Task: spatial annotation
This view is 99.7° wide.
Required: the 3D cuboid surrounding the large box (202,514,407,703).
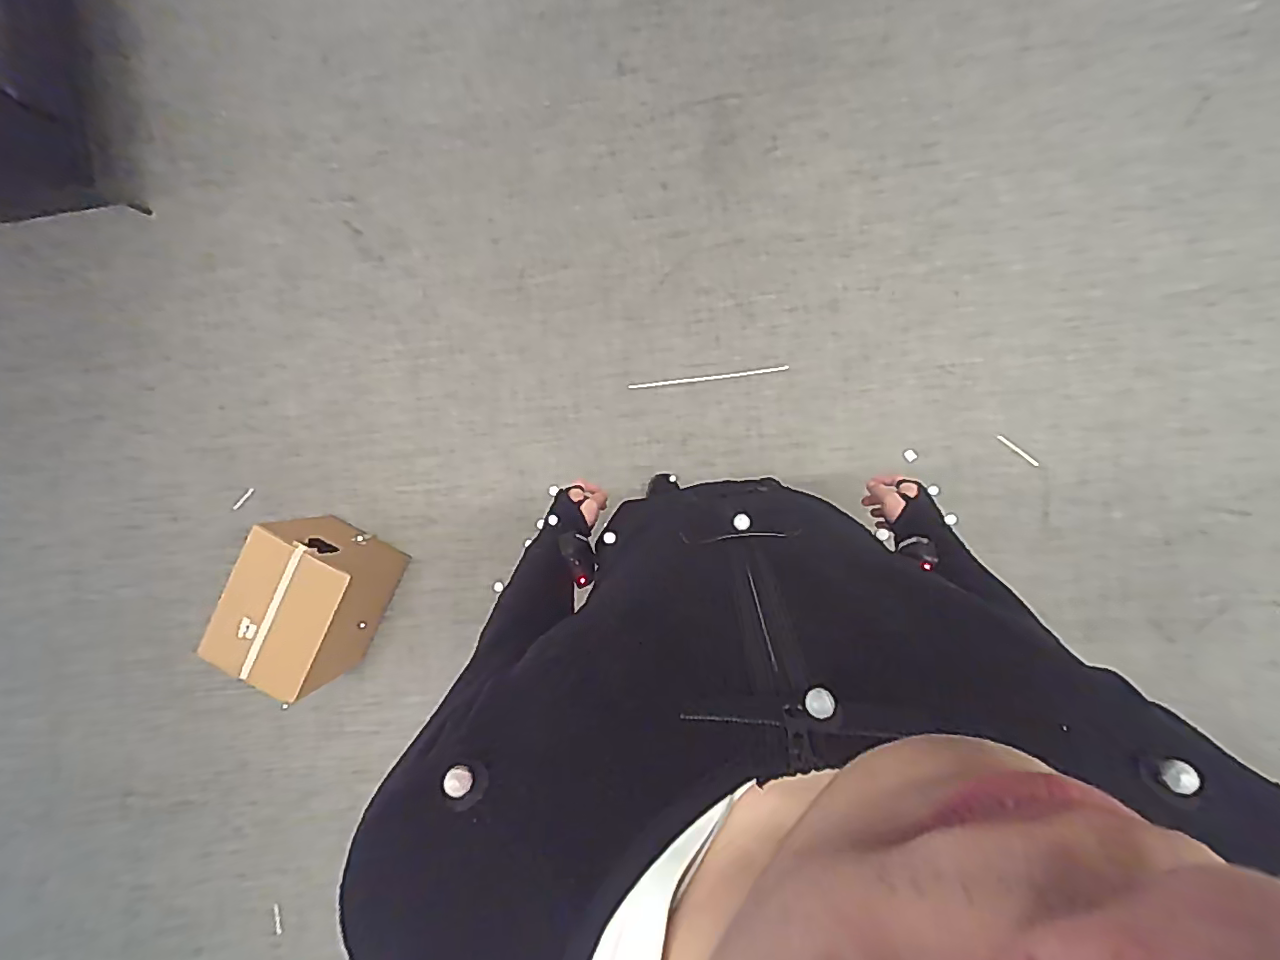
[{"bbox_3d":[-0.965,0.353,1.598,0.320,0.320,0.408,26,95,5],"label":"large box"}]
